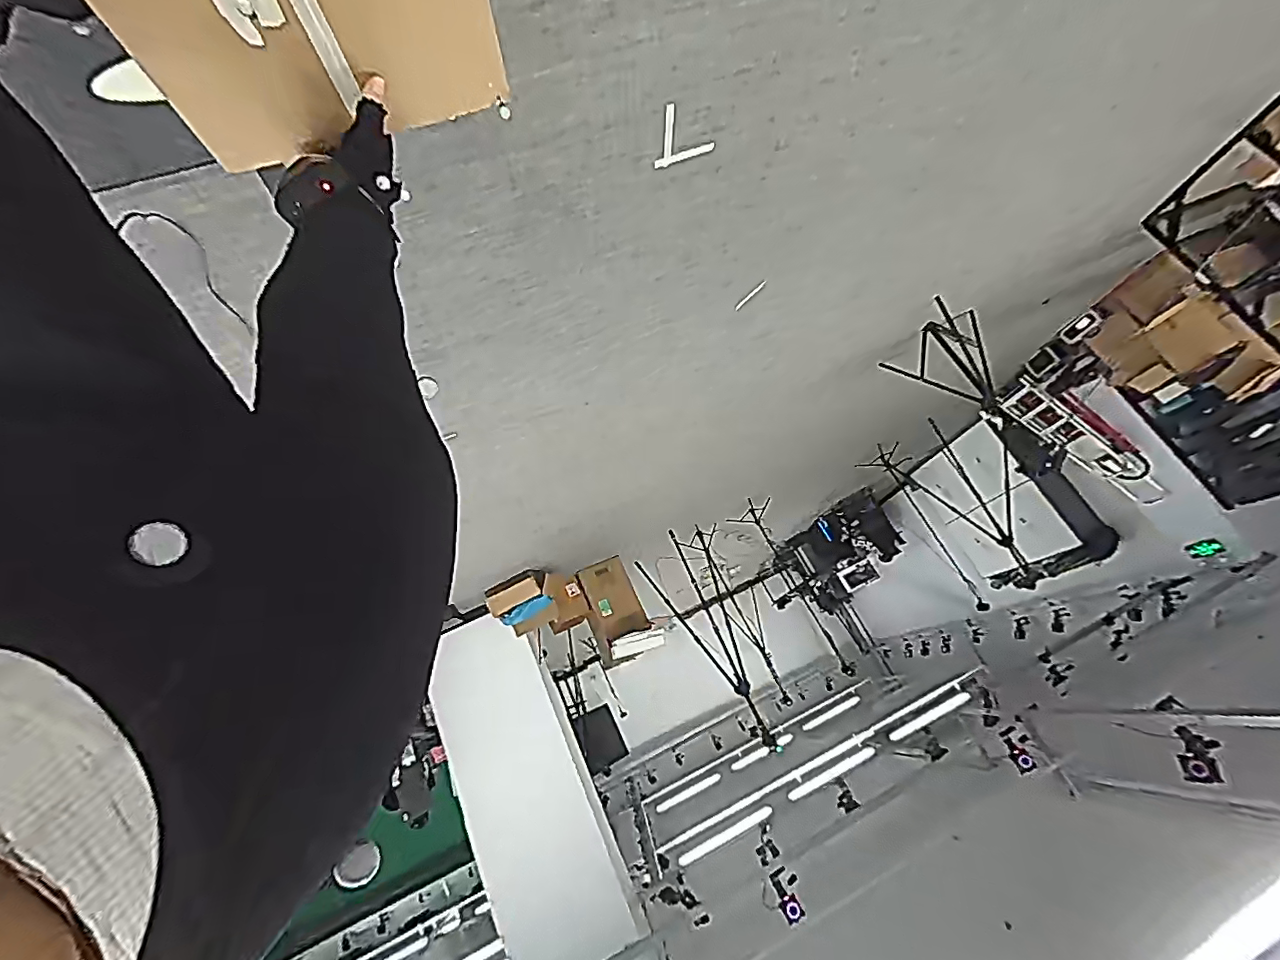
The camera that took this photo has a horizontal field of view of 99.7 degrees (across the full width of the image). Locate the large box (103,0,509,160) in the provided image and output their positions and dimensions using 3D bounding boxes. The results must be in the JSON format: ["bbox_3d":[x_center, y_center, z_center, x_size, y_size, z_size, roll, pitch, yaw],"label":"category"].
[{"bbox_3d":[-0.343,-0.586,0.451,0.320,0.320,0.408,-18,161,-6],"label":"large box"}]
